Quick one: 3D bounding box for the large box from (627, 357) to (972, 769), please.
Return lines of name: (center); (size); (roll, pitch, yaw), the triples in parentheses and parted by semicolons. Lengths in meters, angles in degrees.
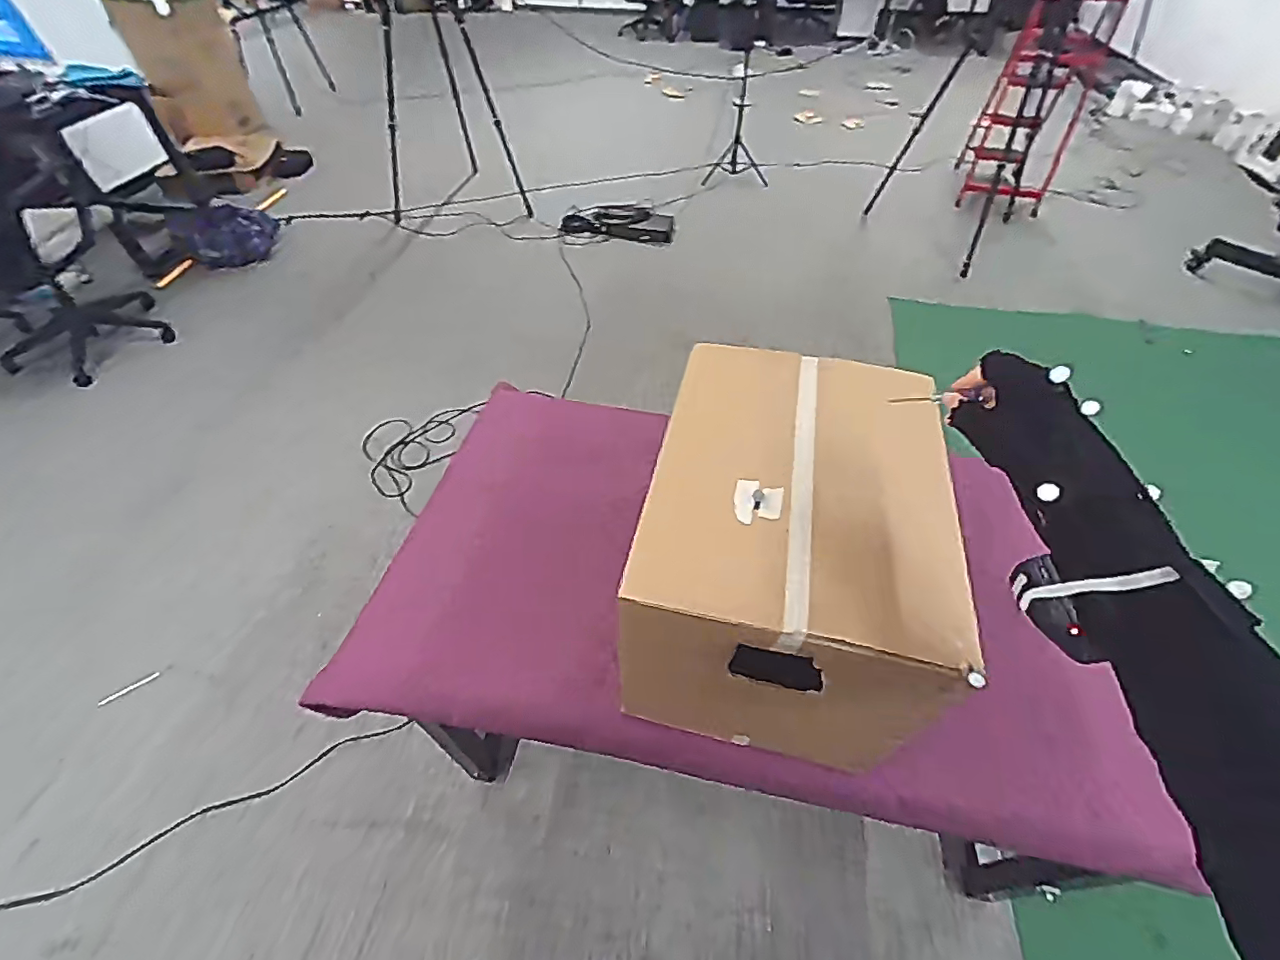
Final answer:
large box: (0.177, 0.098, 0.718); (0.320, 0.320, 0.408); (11, 50, 9)
